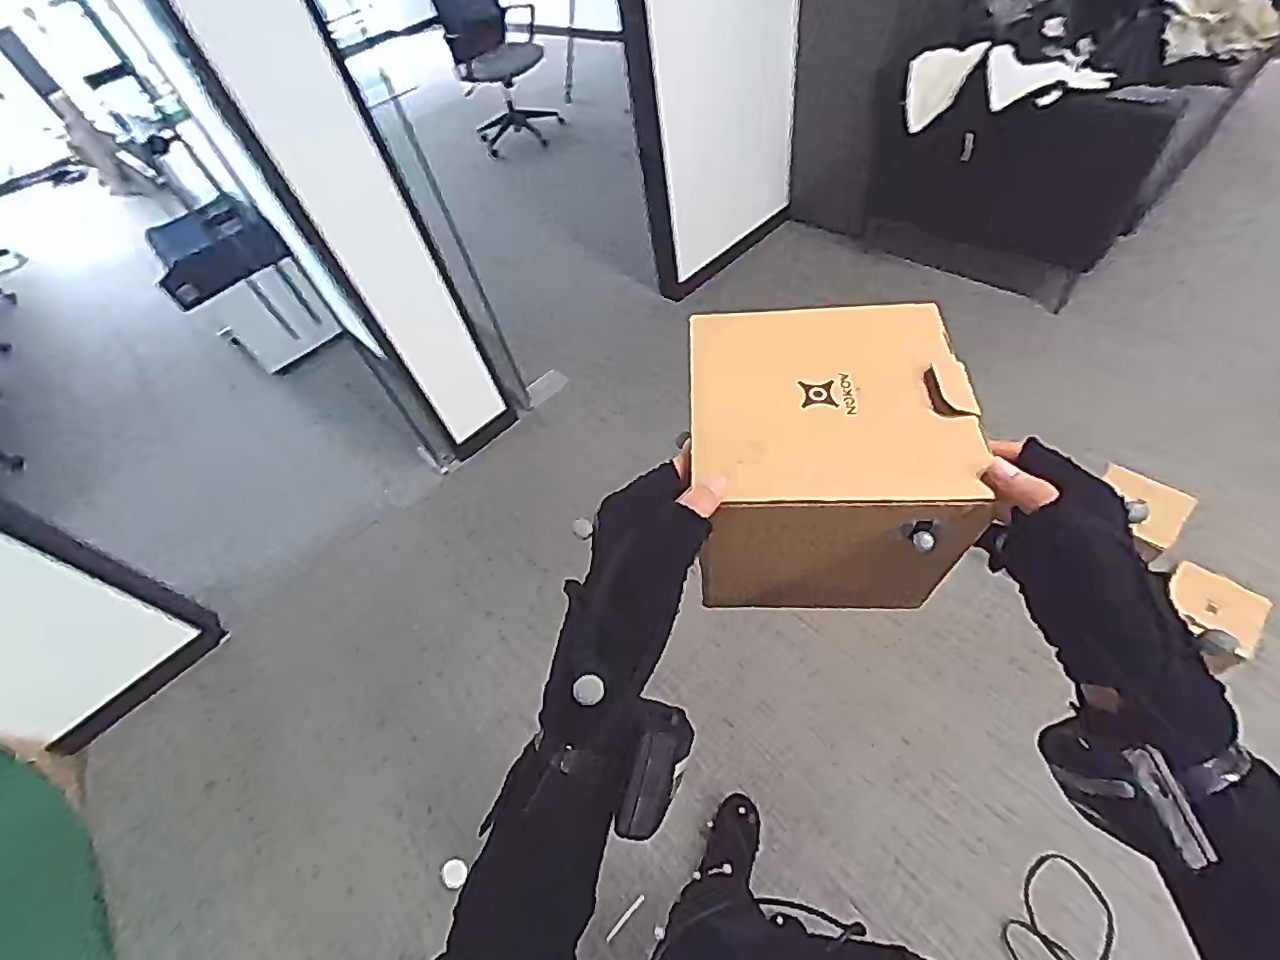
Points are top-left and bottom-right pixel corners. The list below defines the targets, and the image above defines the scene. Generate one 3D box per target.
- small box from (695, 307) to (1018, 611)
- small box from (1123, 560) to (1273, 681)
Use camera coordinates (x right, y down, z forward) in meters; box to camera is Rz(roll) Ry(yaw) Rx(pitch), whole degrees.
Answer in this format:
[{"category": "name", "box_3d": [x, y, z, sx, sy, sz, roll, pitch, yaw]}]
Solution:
[{"category": "small box", "box_3d": [0.133, -0.007, 0.410, 0.179, 0.176, 0.168, -1, 56, 6]}, {"category": "small box", "box_3d": [1.272, 0.326, 1.246, 0.168, 0.176, 0.179, 34, 65, 32]}]
